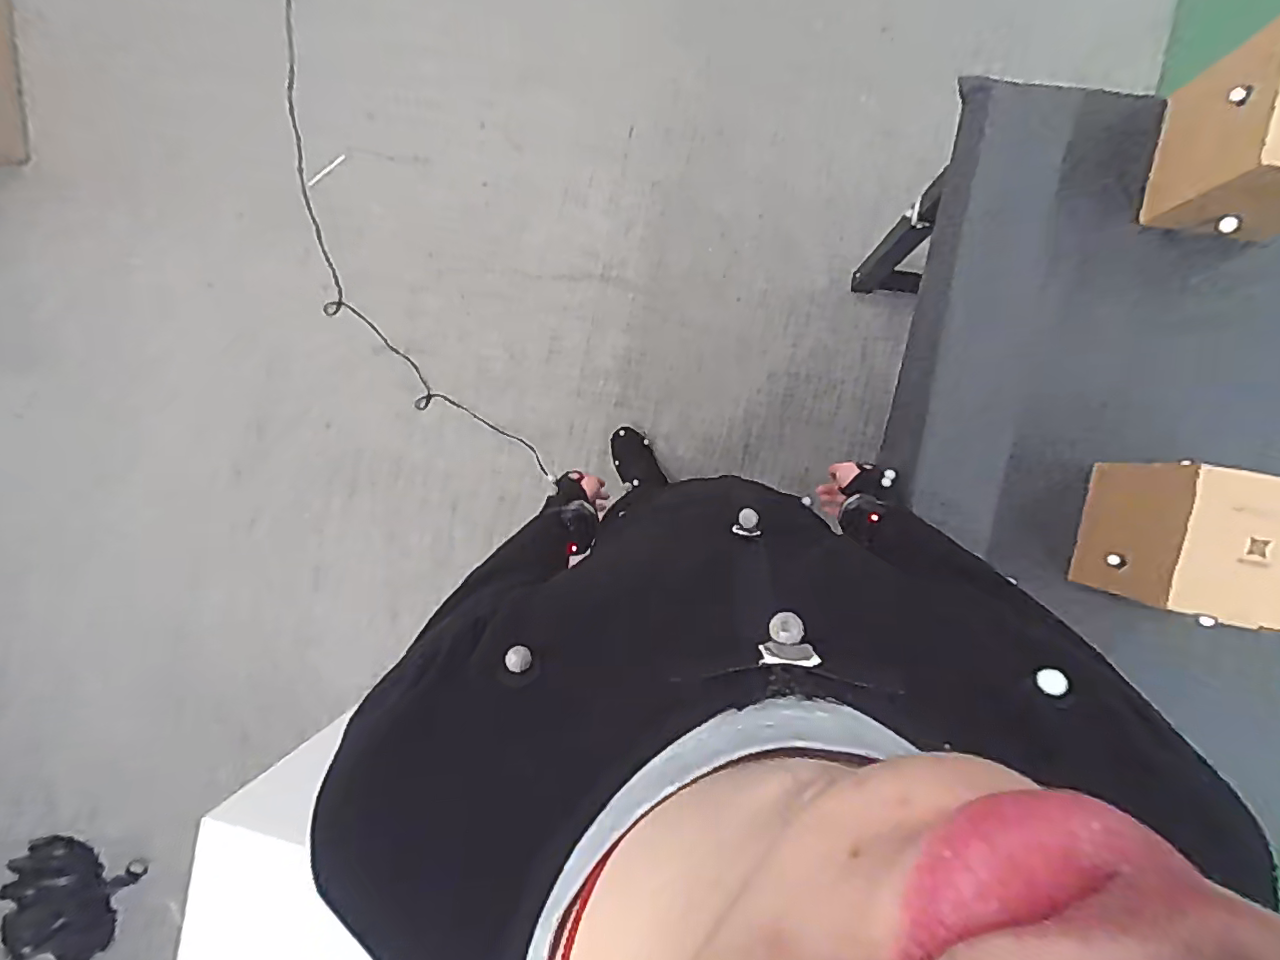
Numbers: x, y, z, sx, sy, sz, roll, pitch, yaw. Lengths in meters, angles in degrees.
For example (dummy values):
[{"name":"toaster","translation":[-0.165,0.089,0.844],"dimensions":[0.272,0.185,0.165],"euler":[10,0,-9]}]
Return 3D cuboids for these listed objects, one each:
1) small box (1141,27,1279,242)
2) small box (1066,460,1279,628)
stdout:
[{"name":"small box","translation":[0.786,-0.425,0.672],"dimensions":[0.168,0.176,0.179],"euler":[11,95,4]},{"name":"small box","translation":[0.711,0.073,0.710],"dimensions":[0.168,0.176,0.179],"euler":[10,93,2]}]
